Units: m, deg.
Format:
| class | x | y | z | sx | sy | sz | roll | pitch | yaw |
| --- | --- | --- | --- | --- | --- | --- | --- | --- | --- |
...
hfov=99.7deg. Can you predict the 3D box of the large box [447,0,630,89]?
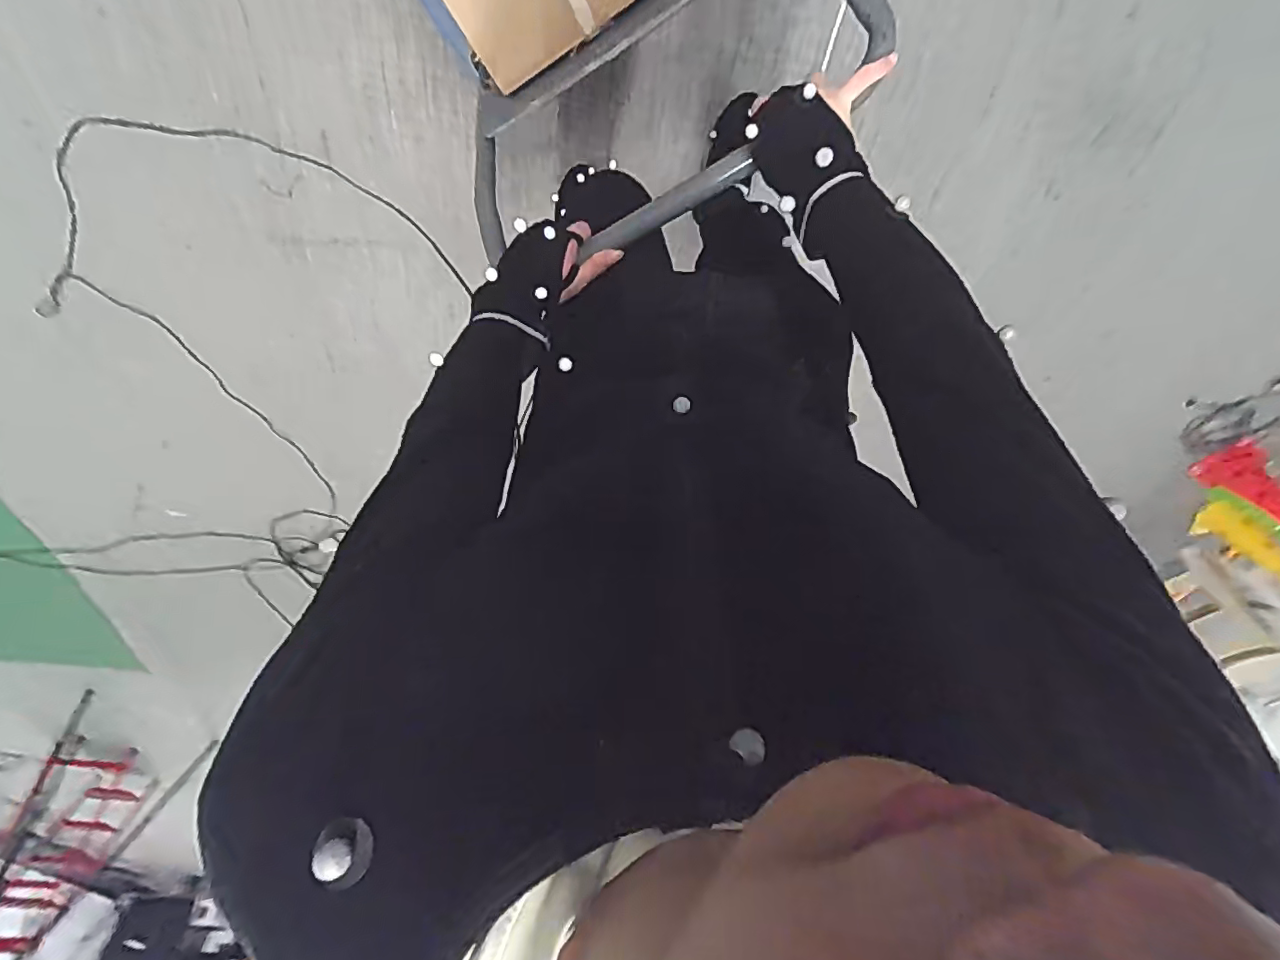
| class | x | y | z | sx | sy | sz | roll | pitch | yaw |
| --- | --- | --- | --- | --- | --- | --- | --- | --- | --- |
| large box | -0.177 | -0.864 | 0.730 | 0.320 | 0.320 | 0.408 | -23 | 139 | 18 |
